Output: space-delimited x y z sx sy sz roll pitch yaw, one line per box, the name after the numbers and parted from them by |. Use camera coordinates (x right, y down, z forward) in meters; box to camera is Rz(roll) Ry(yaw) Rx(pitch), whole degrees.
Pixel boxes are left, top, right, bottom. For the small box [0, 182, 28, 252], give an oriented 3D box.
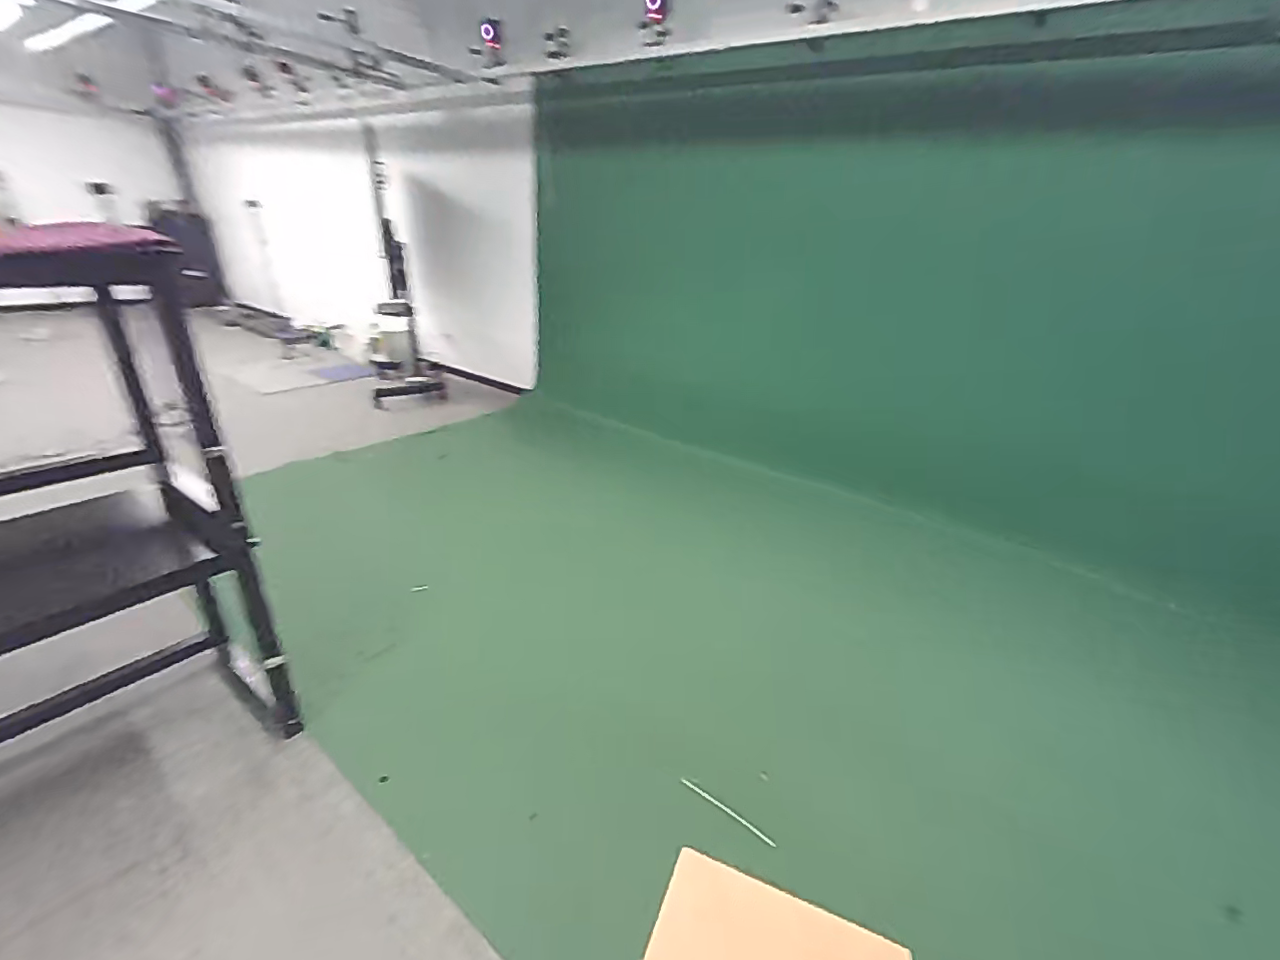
-1.293 -0.511 0.991 0.168 0.176 0.179 19 28 34 | small box
